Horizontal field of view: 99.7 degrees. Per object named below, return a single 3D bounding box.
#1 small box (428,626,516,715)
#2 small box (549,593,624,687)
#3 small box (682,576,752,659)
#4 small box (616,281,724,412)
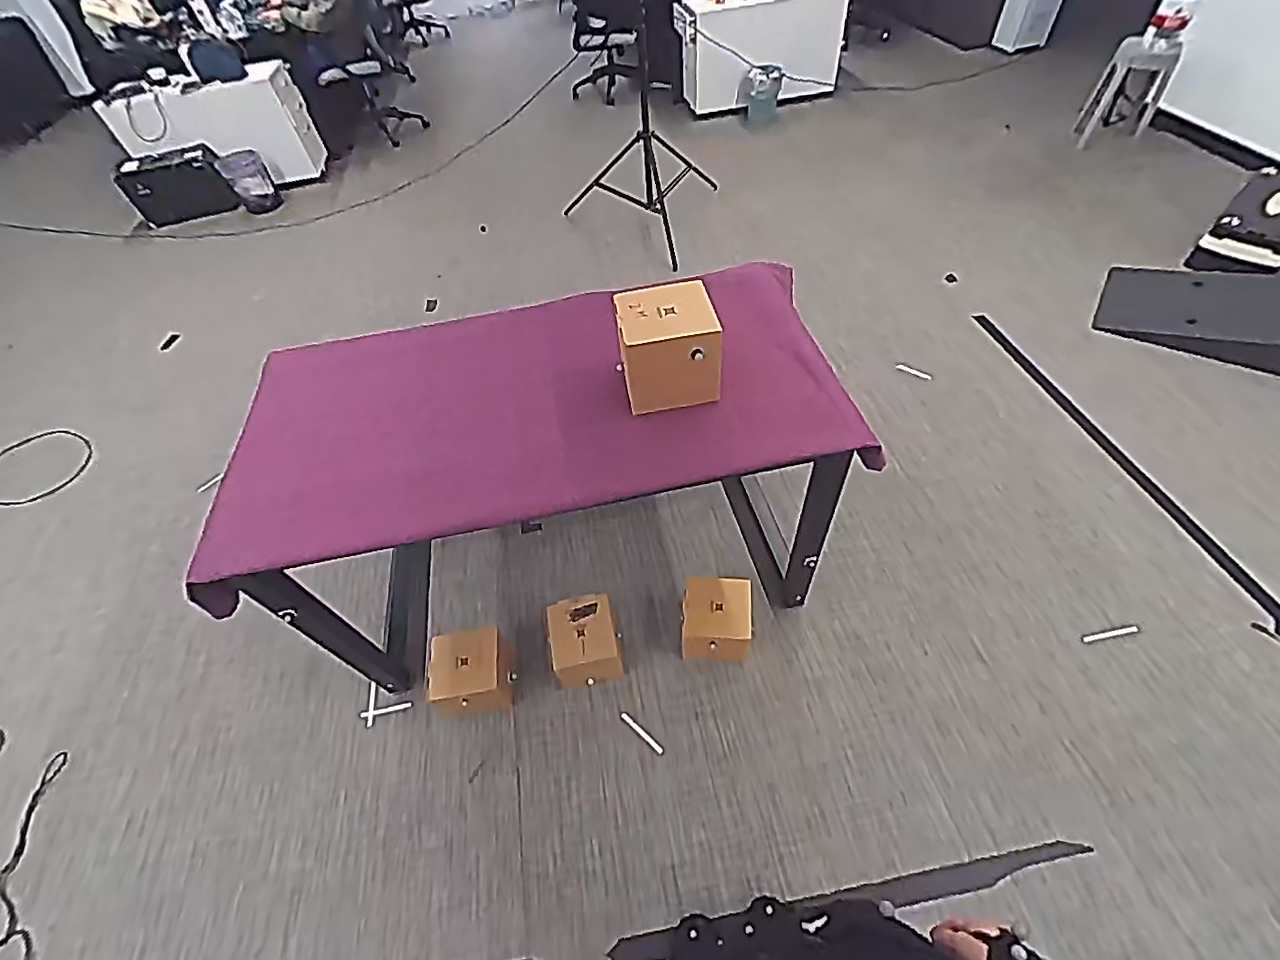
[{"bbox_3d":[-0.438,0.508,1.433,0.179,0.176,0.168,-9,53,-2],"label":"small box"},{"bbox_3d":[-0.143,0.433,1.457,0.168,0.176,0.179,-12,53,-3],"label":"small box"},{"bbox_3d":[0.209,0.376,1.466,0.179,0.176,0.168,1,53,9],"label":"small box"},{"bbox_3d":[0.056,-0.254,1.042,0.179,0.176,0.168,-10,51,-1],"label":"small box"}]
